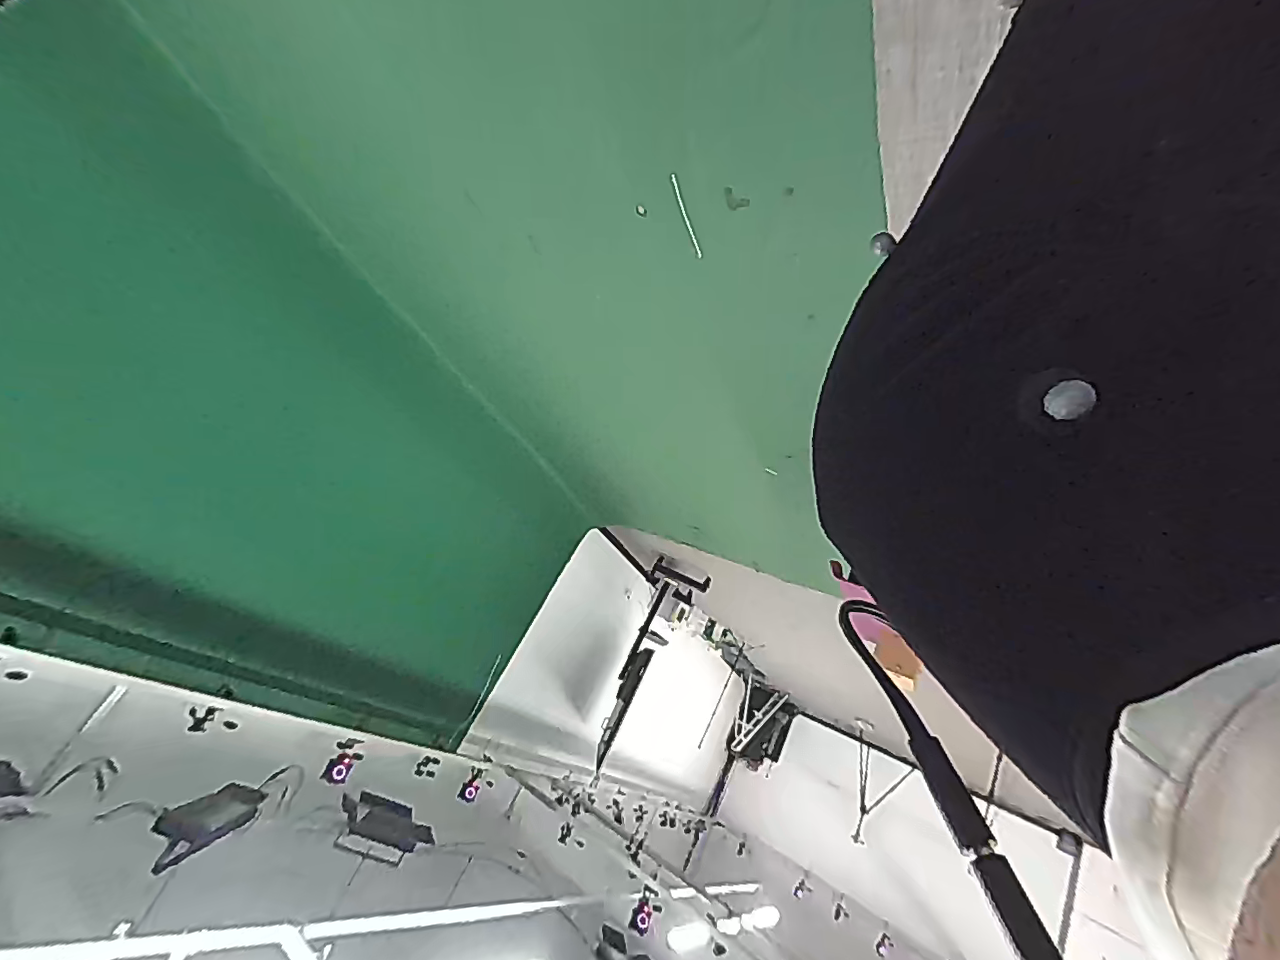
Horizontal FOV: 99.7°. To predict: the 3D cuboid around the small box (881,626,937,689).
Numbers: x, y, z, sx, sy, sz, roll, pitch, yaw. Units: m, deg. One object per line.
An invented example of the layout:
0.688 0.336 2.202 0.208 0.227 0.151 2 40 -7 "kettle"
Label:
1.097 0.719 2.198 0.168 0.176 0.179 14 155 35 "small box"
